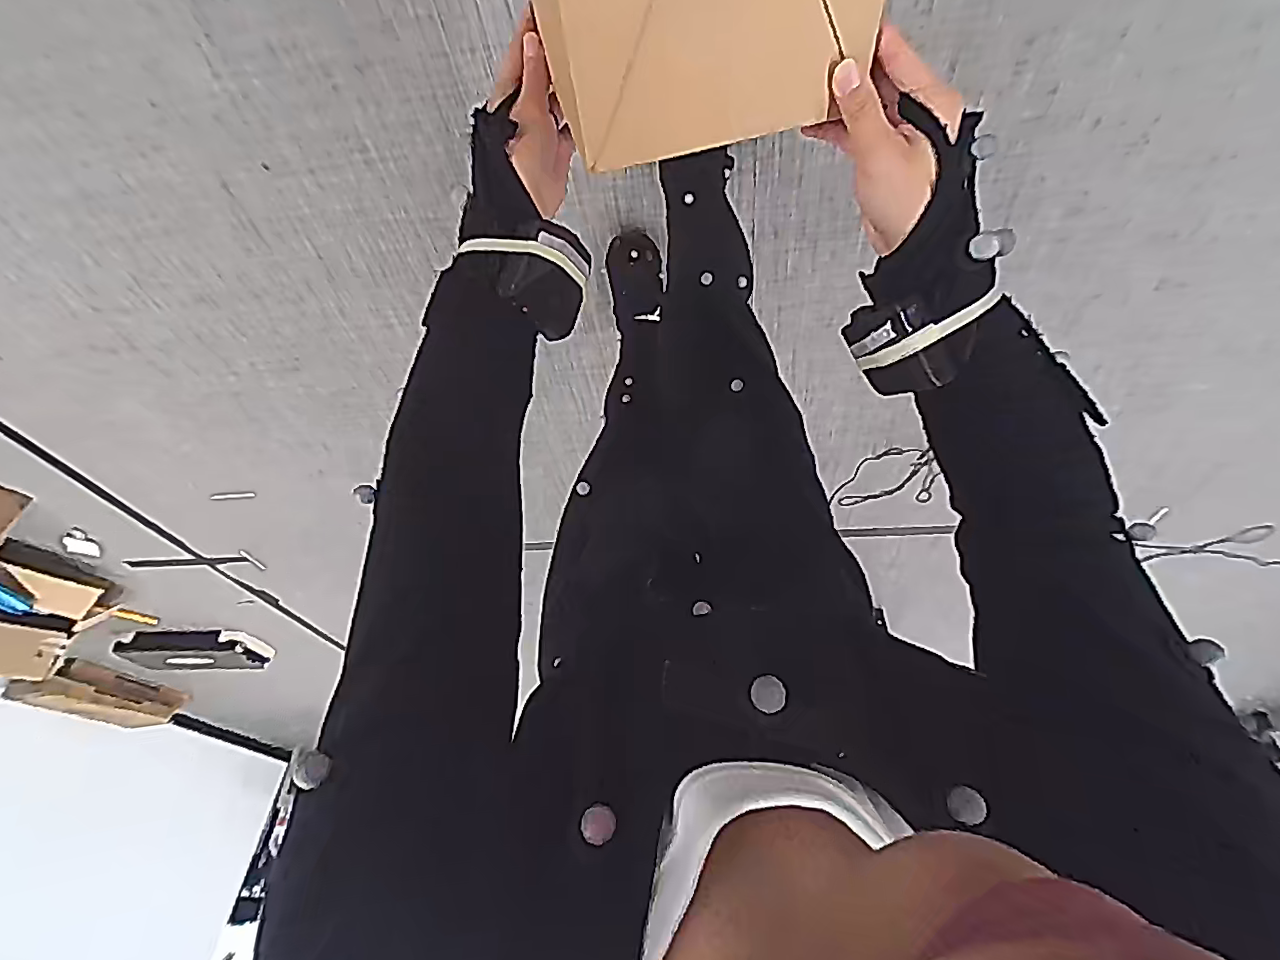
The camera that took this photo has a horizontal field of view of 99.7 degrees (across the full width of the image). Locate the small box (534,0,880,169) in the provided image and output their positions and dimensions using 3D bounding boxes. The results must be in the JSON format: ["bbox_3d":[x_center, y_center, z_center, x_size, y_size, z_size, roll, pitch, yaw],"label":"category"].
[{"bbox_3d":[0.023,-0.308,0.288,0.168,0.176,0.179,-15,146,-4],"label":"small box"}]
